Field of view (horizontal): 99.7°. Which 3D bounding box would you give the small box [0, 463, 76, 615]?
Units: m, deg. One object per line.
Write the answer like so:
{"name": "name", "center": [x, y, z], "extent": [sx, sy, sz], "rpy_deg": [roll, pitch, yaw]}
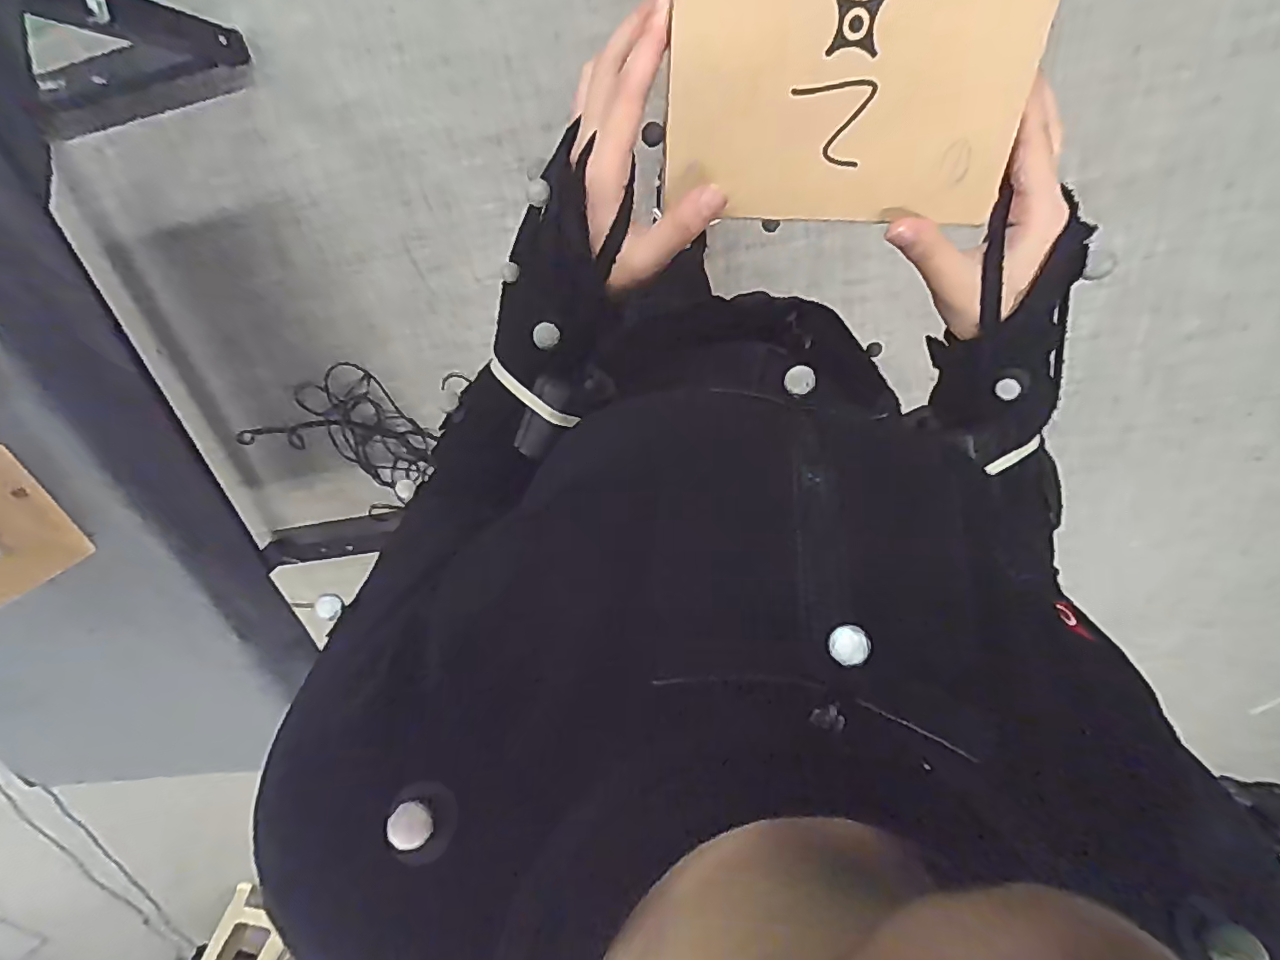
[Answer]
{"name": "small box", "center": [-0.847, 0.092, 0.640], "extent": [0.179, 0.176, 0.168], "rpy_deg": [-13, 116, 11]}
